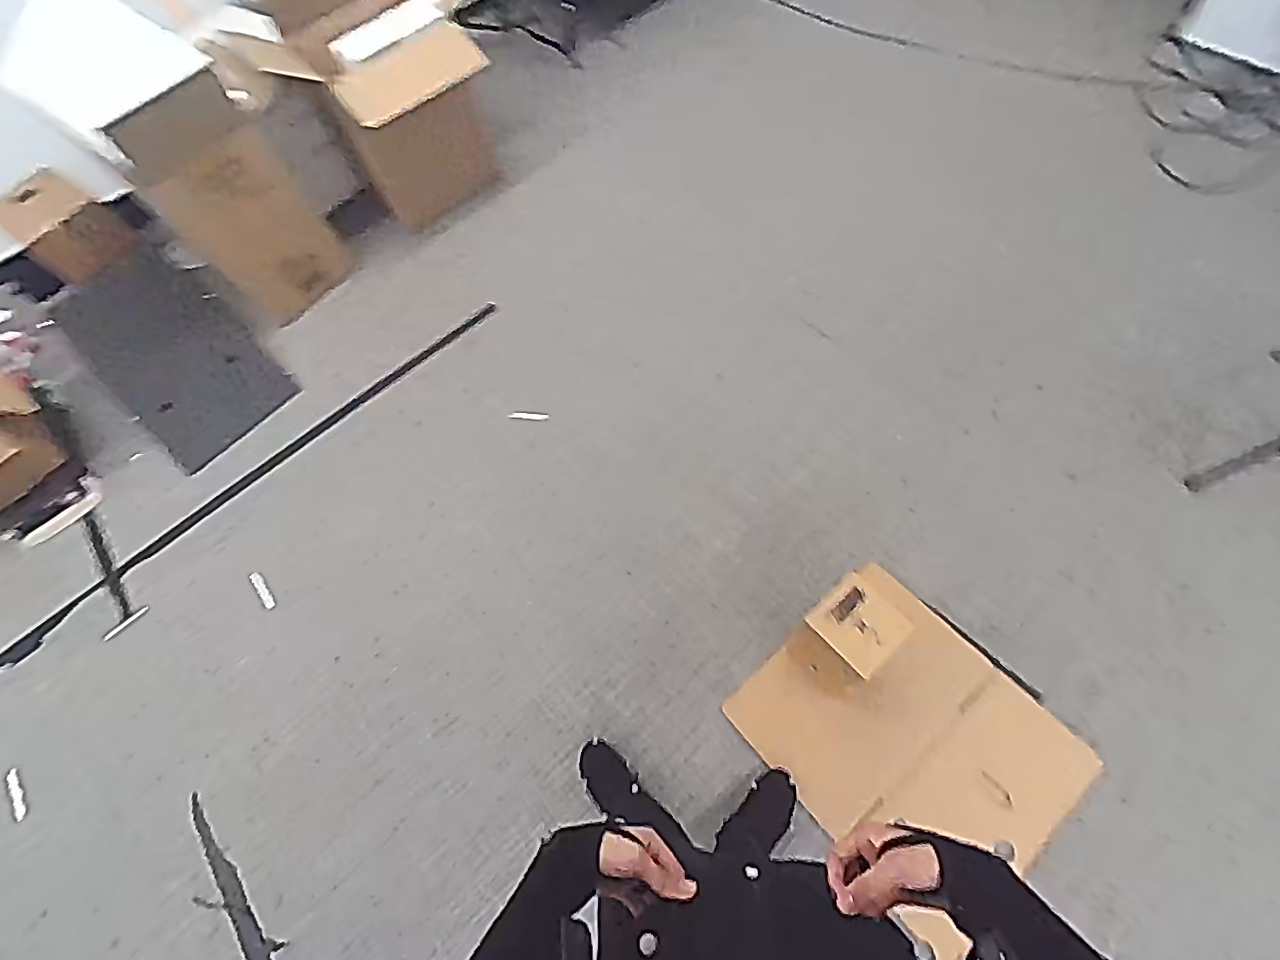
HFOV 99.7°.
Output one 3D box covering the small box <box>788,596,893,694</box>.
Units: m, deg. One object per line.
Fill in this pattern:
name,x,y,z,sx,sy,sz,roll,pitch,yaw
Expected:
small box,0.506,0.430,1.393,0.168,0.176,0.179,-39,66,-12
